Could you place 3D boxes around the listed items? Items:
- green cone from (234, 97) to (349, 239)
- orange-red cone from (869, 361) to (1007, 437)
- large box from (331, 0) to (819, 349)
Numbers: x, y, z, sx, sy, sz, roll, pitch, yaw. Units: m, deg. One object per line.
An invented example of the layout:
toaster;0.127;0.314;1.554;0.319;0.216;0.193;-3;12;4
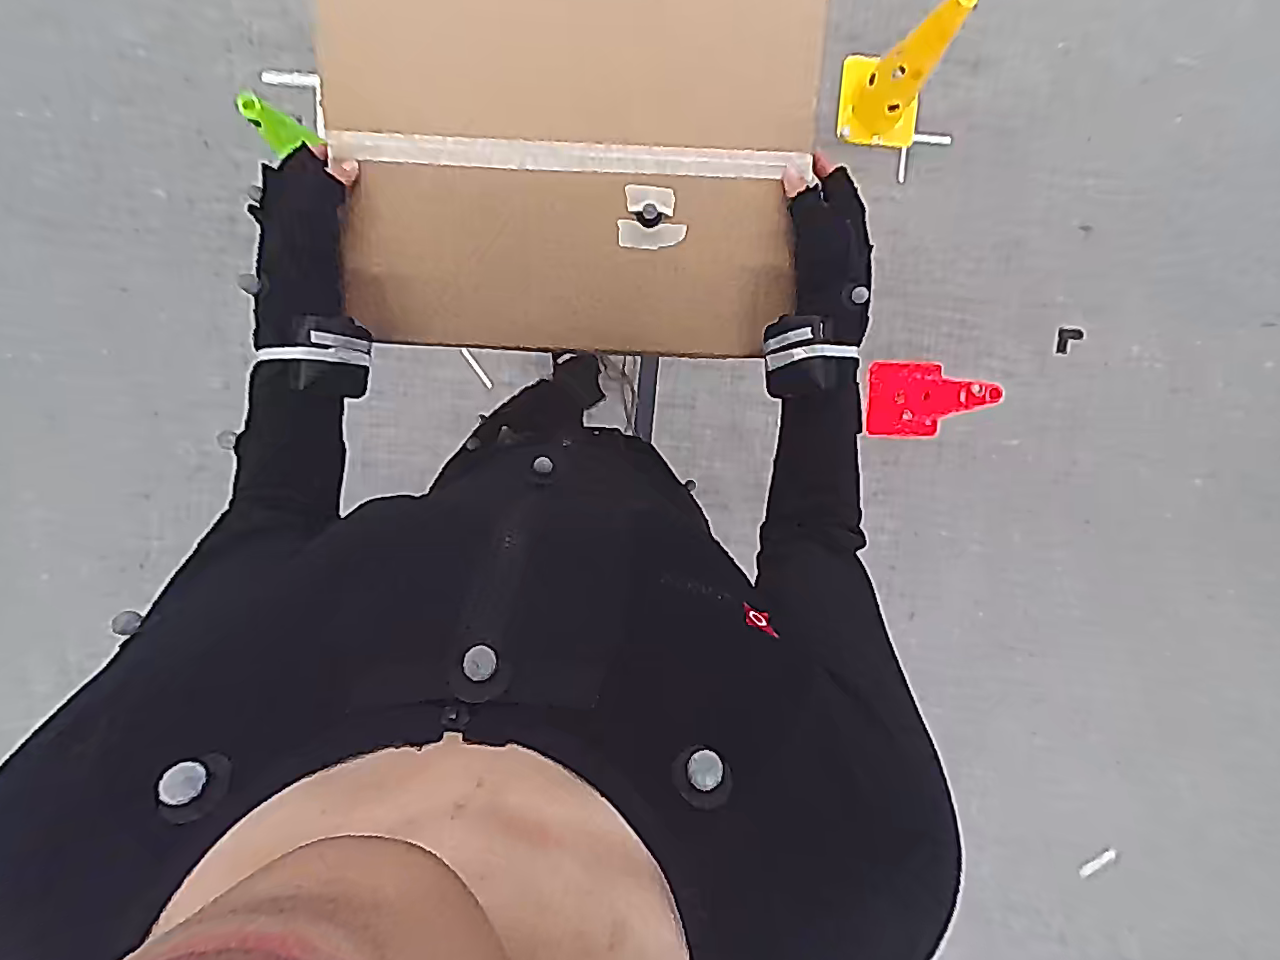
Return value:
green cone;-0.723;-0.710;1.165;0.202;0.368;0.200;-33;96;3
orange-red cone;0.723;-0.202;1.280;0.198;0.360;0.199;2;95;-3
large box;-0.060;-0.313;0.608;0.408;0.320;0.320;2;103;-2
